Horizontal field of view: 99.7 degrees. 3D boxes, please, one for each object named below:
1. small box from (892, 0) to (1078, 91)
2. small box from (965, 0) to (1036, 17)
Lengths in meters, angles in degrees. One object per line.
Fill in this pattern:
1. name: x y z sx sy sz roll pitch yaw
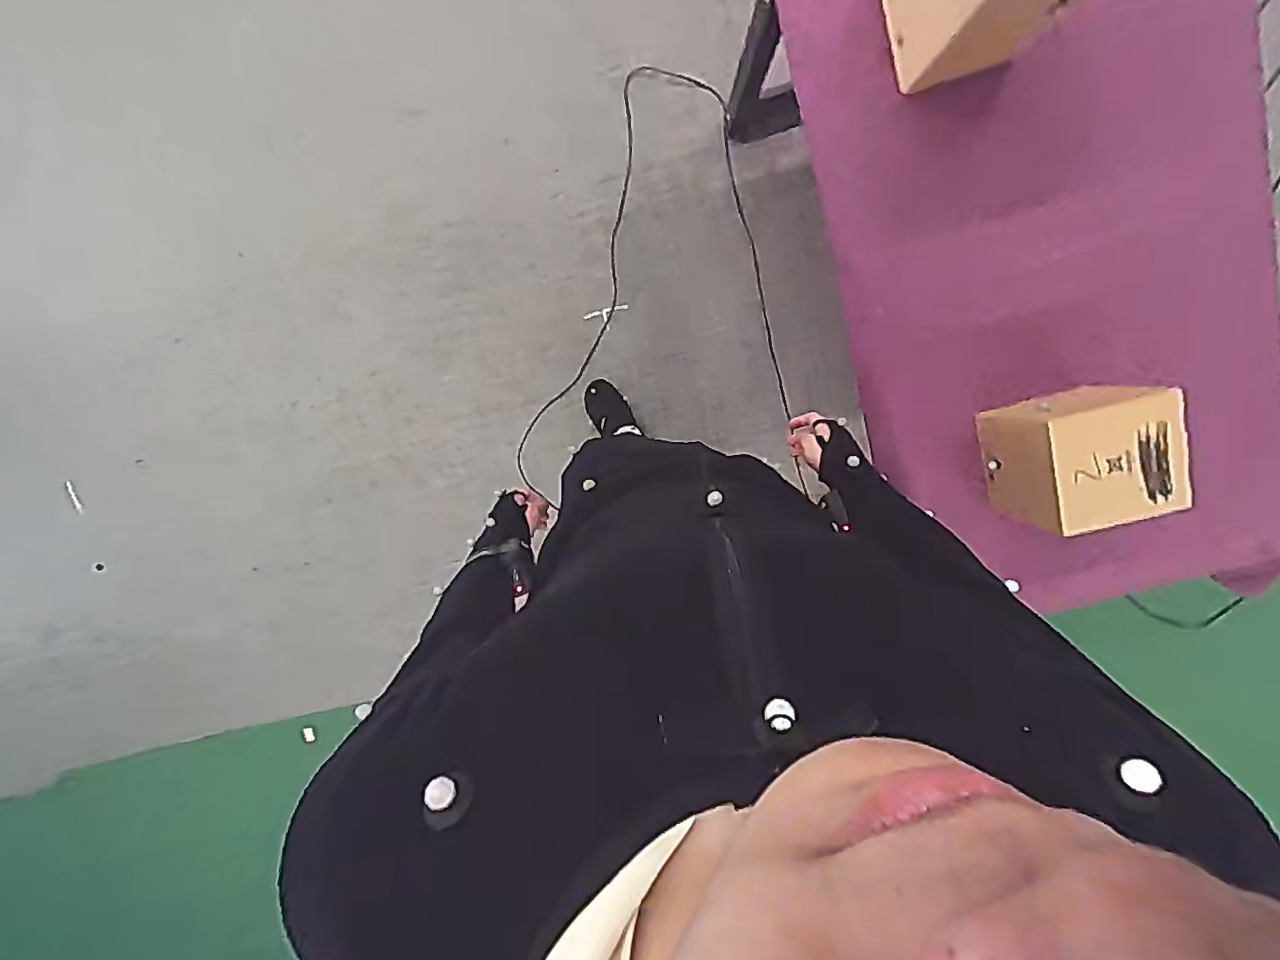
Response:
1. small box: 0.445 -0.647 0.694 0.179 0.176 0.168 -17 99 3
2. small box: 0.445 -0.619 0.532 0.179 0.176 0.168 -16 99 4
